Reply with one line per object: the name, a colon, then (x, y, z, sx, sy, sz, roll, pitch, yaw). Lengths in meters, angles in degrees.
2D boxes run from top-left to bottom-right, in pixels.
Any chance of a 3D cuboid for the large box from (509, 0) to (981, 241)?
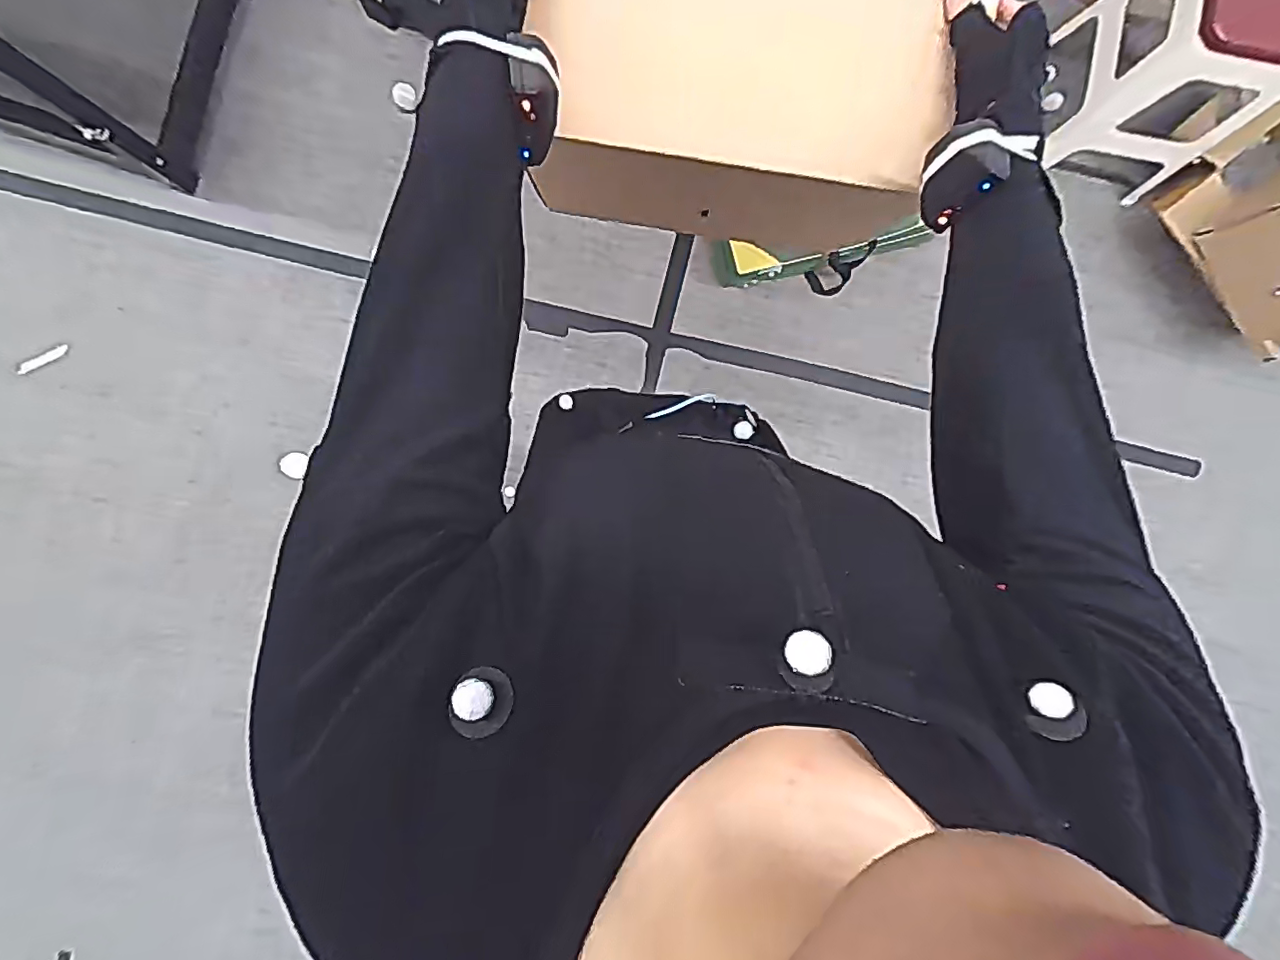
large box: (0.095, -0.473, 0.597, 0.408, 0.320, 0.320, 7, 103, -4)
